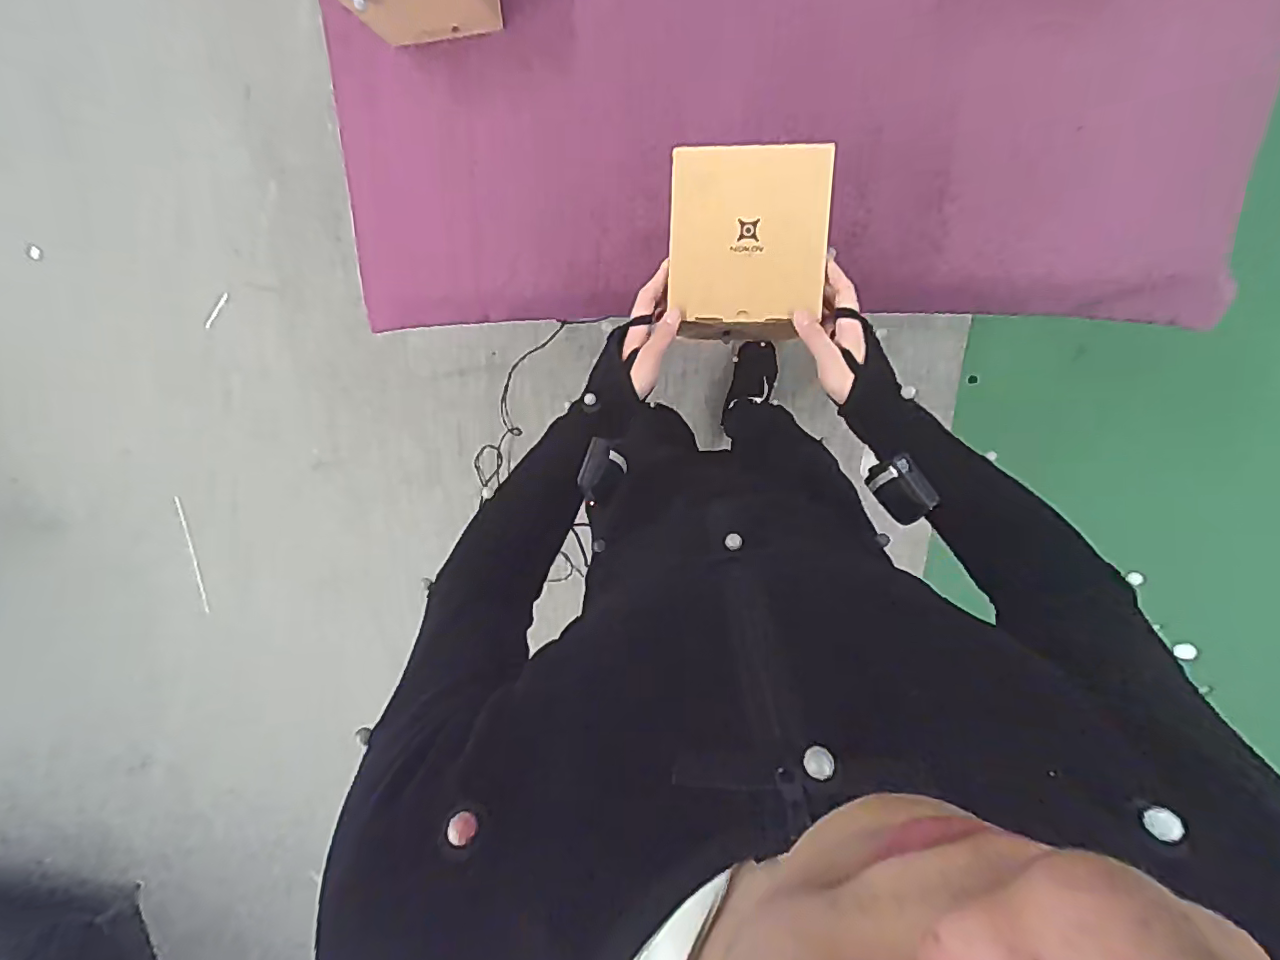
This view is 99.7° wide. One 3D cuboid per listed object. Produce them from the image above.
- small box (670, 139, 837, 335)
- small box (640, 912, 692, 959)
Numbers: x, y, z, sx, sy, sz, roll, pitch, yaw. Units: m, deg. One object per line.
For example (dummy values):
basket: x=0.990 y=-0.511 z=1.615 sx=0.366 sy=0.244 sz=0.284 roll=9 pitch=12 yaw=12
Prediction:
small box: x=0.122 y=-0.271 z=0.639 sx=0.168 sy=0.176 sz=0.179 roll=2 pitch=100 yaw=6
small box: x=0.089 y=1.609 z=1.815 sx=0.168 sy=0.176 sz=0.179 roll=2 pitch=107 yaw=7
